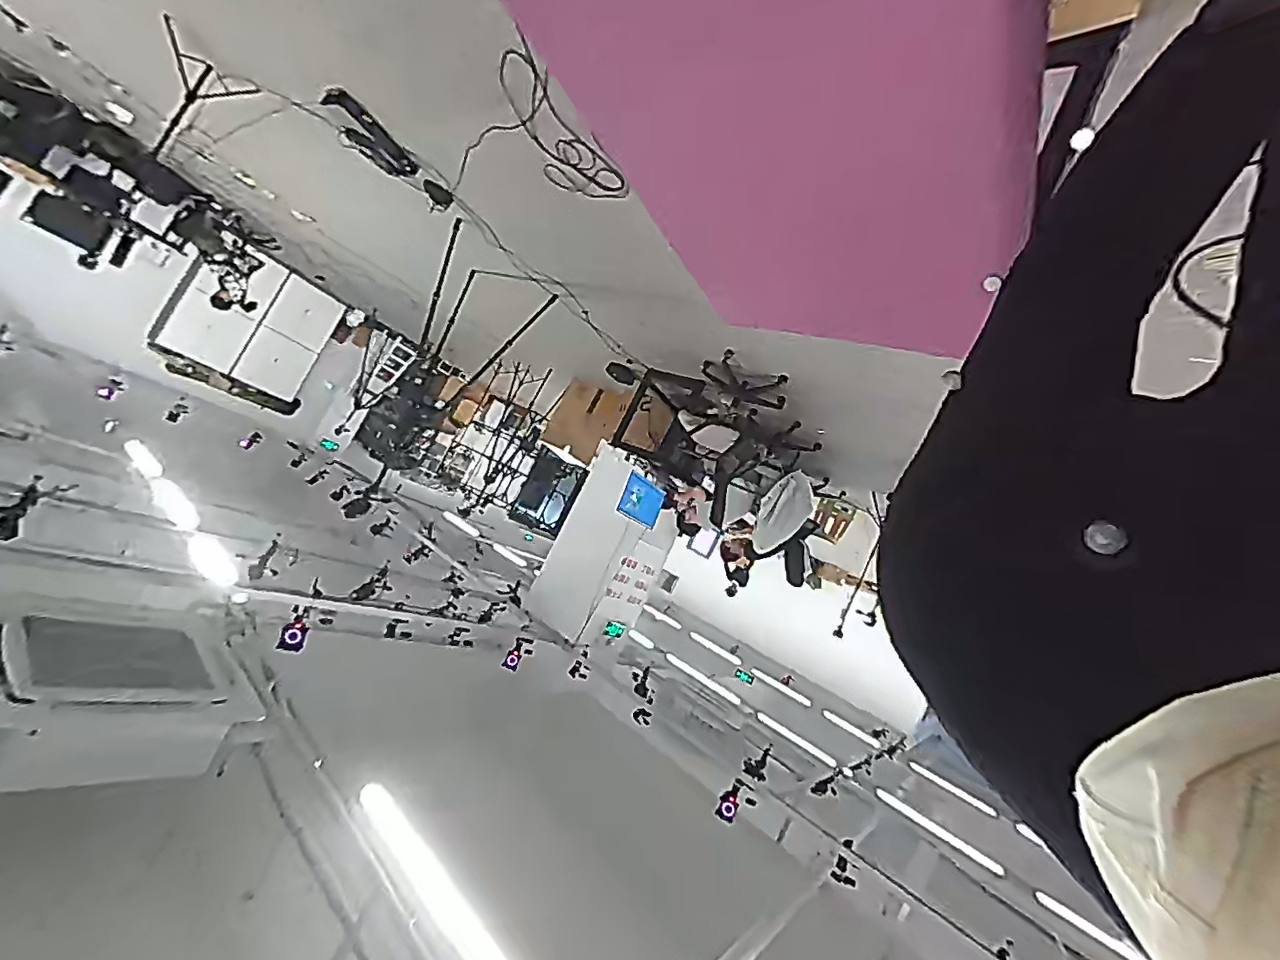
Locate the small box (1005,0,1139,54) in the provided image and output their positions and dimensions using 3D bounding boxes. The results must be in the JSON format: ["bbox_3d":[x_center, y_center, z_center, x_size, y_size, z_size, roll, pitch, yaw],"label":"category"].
[{"bbox_3d":[0.746,-0.884,0.910,0.179,0.176,0.168,21,172,45],"label":"small box"}]
